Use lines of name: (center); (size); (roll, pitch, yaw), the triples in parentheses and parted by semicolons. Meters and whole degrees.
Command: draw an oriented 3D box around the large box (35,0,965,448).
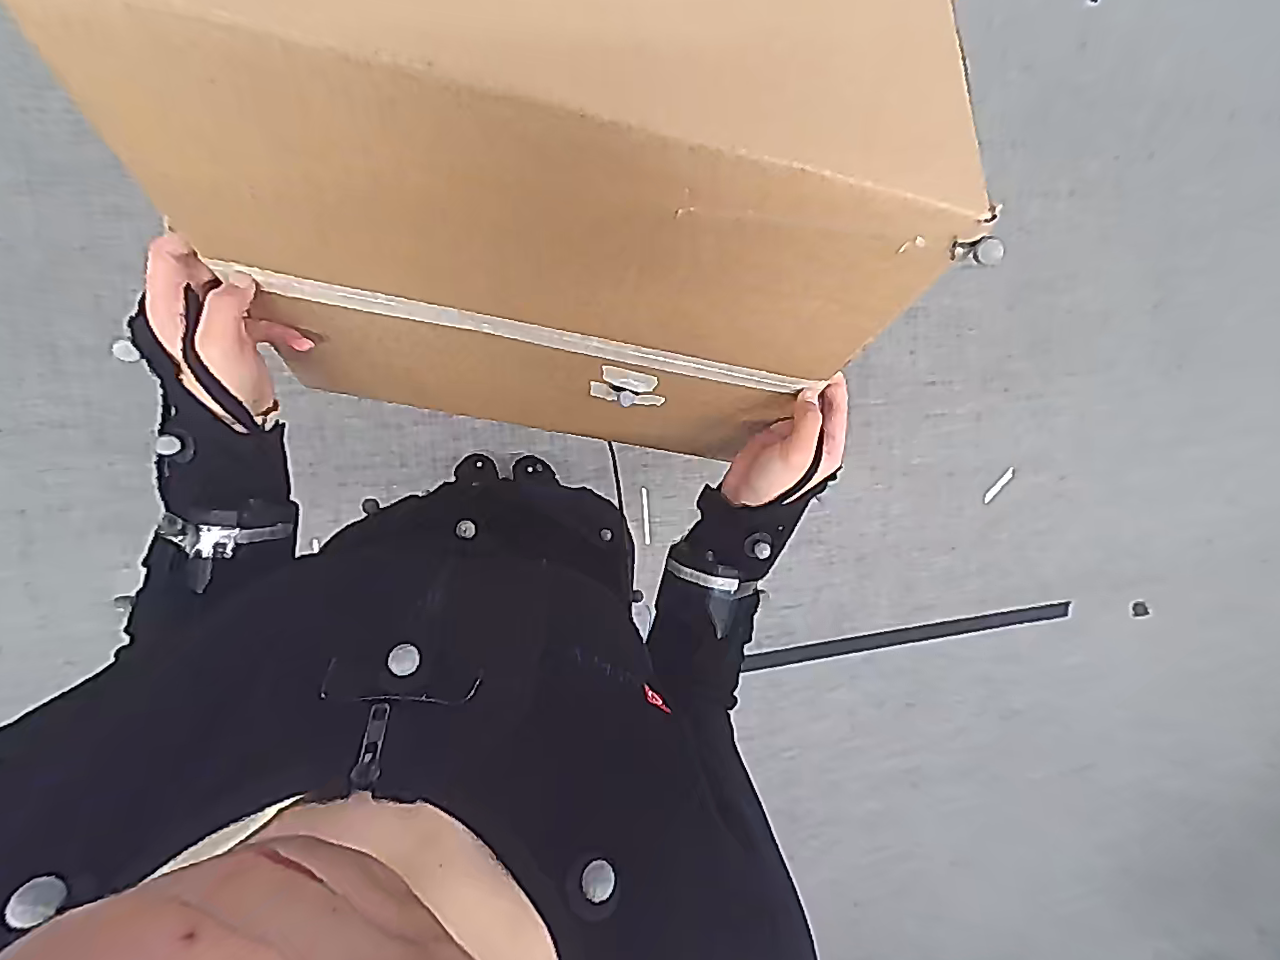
large box: (-0.055, -0.249, 0.419); (0.408, 0.320, 0.320); (8, 70, -9)
